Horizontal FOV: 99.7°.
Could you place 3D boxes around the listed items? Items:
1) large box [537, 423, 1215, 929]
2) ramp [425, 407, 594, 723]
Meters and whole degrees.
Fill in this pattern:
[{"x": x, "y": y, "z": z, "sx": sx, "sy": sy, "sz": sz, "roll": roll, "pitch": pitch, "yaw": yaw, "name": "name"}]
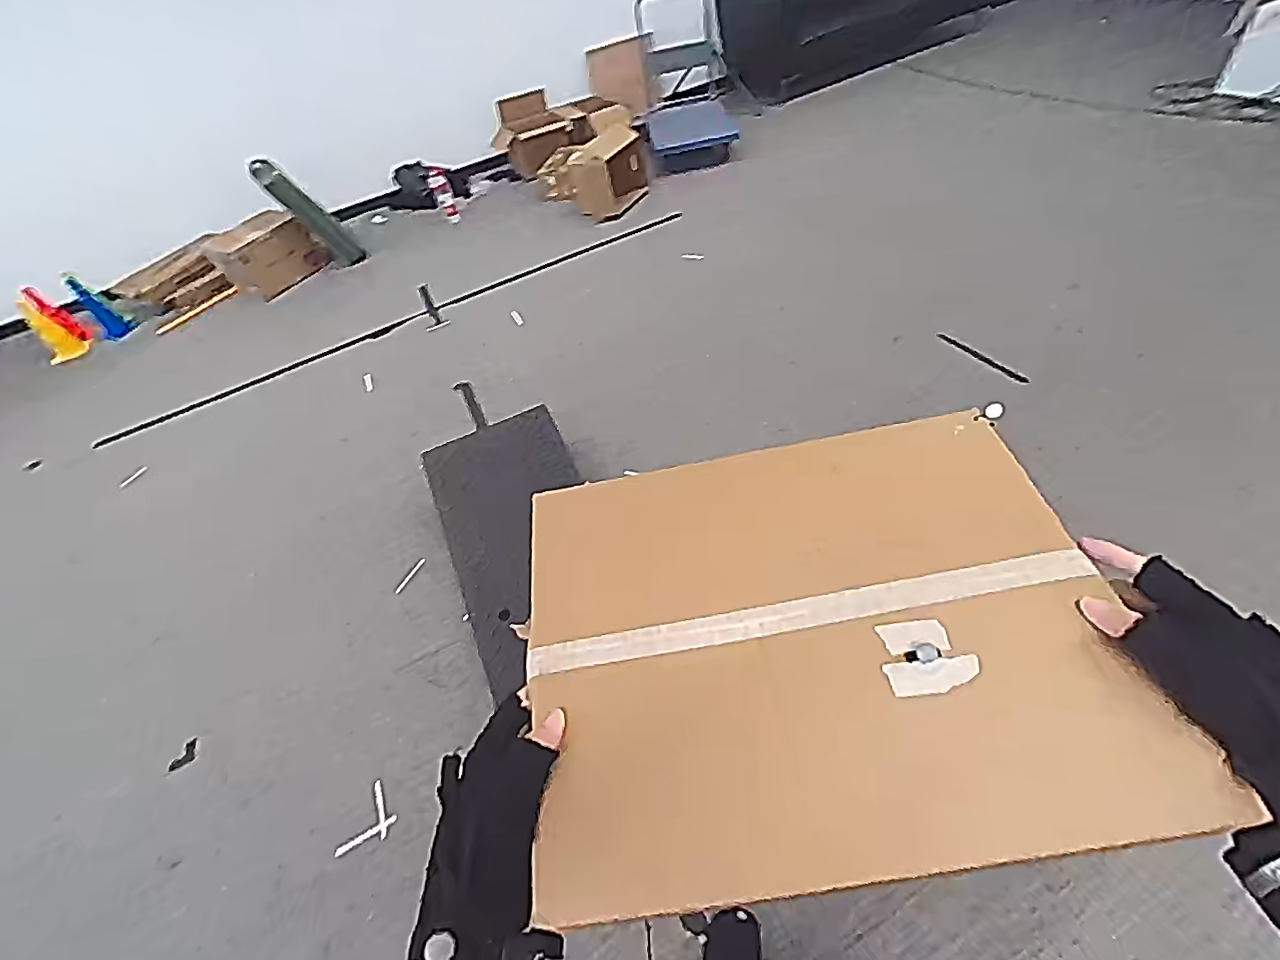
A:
[{"x": 0.140, "y": 0.196, "z": 0.524, "sx": 0.408, "sy": 0.320, "sz": 0.320, "roll": -12, "pitch": 53, "yaw": 2, "name": "large box"}, {"x": -0.352, "y": 0.197, "z": 1.760, "sx": 0.509, "sy": 0.206, "sz": 0.991, "roll": -25, "pitch": 49, "yaw": -11, "name": "ramp"}]
